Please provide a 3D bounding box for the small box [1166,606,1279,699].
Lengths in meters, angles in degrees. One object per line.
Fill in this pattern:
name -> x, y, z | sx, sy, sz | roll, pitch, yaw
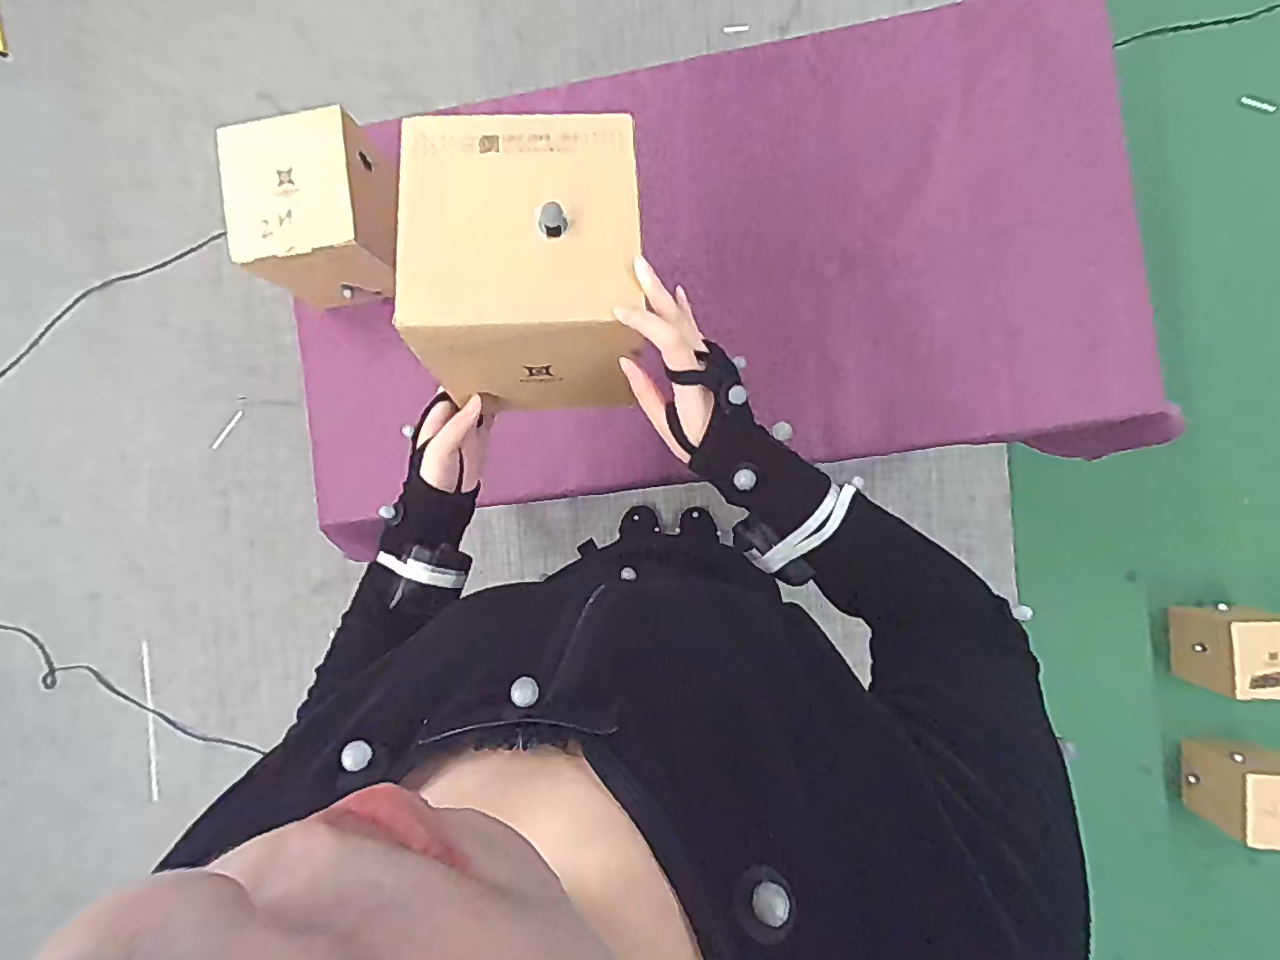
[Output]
small box -> 1.420, 0.407, 1.293 | 0.168, 0.176, 0.179 | -2, 88, 5

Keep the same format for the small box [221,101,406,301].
small box -> -0.426, -0.370, 0.747 | 0.168, 0.176, 0.179 | -7, 89, 5

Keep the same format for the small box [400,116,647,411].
small box -> -0.087, -0.167, 0.450 | 0.168, 0.179, 0.176 | -3, 80, -3
